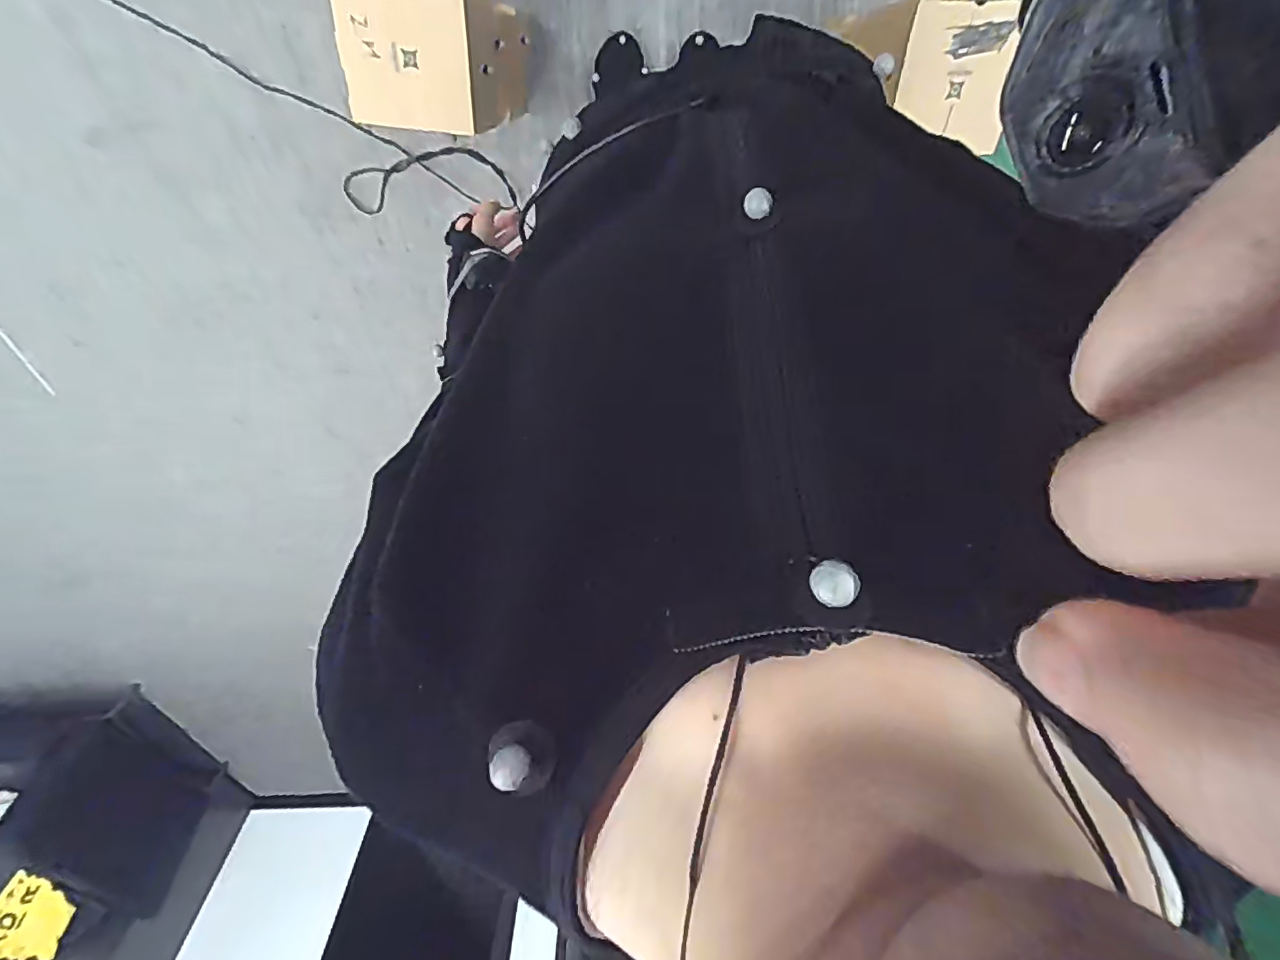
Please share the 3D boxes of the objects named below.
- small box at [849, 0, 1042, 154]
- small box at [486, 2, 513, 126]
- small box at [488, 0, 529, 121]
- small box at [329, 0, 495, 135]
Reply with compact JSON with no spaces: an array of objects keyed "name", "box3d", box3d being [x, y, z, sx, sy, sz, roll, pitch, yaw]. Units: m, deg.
[{"name":"small box","box3d":[0.429,-0.594,0.798,0.168,0.176,0.179,-1,129,0]},{"name":"small box","box3d":[-0.322,-0.719,0.913,0.168,0.176,0.179,16,126,-11]},{"name":"small box","box3d":[-0.313,-0.820,1.038,0.168,0.176,0.179,11,128,-8]},{"name":"small box","box3d":[-0.314,-0.616,0.784,0.179,0.176,0.168,5,127,-3]}]
